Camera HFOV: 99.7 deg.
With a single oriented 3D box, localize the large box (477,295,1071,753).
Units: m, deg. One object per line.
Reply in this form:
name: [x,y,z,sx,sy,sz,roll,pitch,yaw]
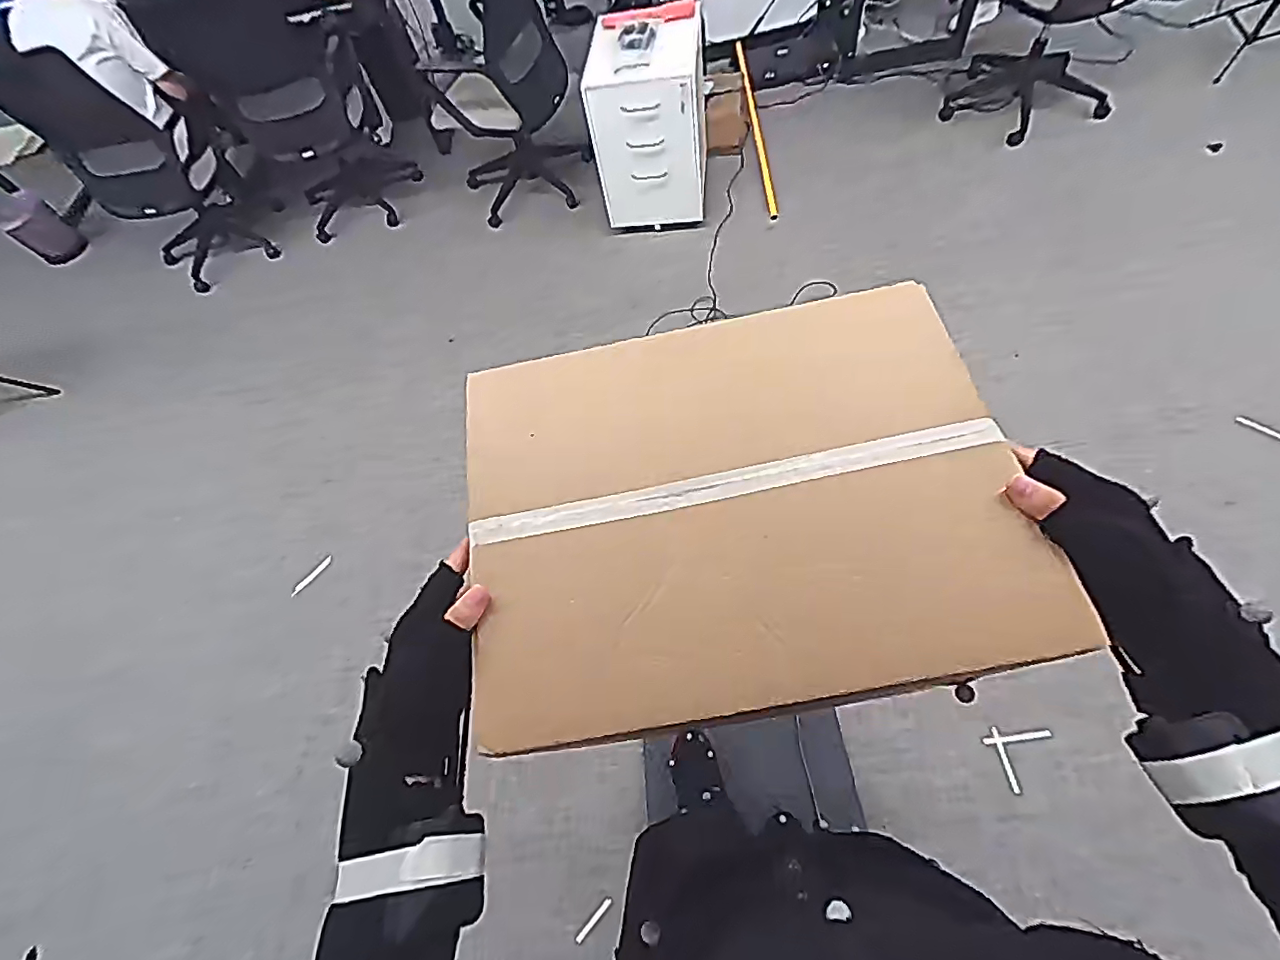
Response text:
large box: [0.088,0.071,0.560,0.408,0.320,0.320,-12,63,3]
